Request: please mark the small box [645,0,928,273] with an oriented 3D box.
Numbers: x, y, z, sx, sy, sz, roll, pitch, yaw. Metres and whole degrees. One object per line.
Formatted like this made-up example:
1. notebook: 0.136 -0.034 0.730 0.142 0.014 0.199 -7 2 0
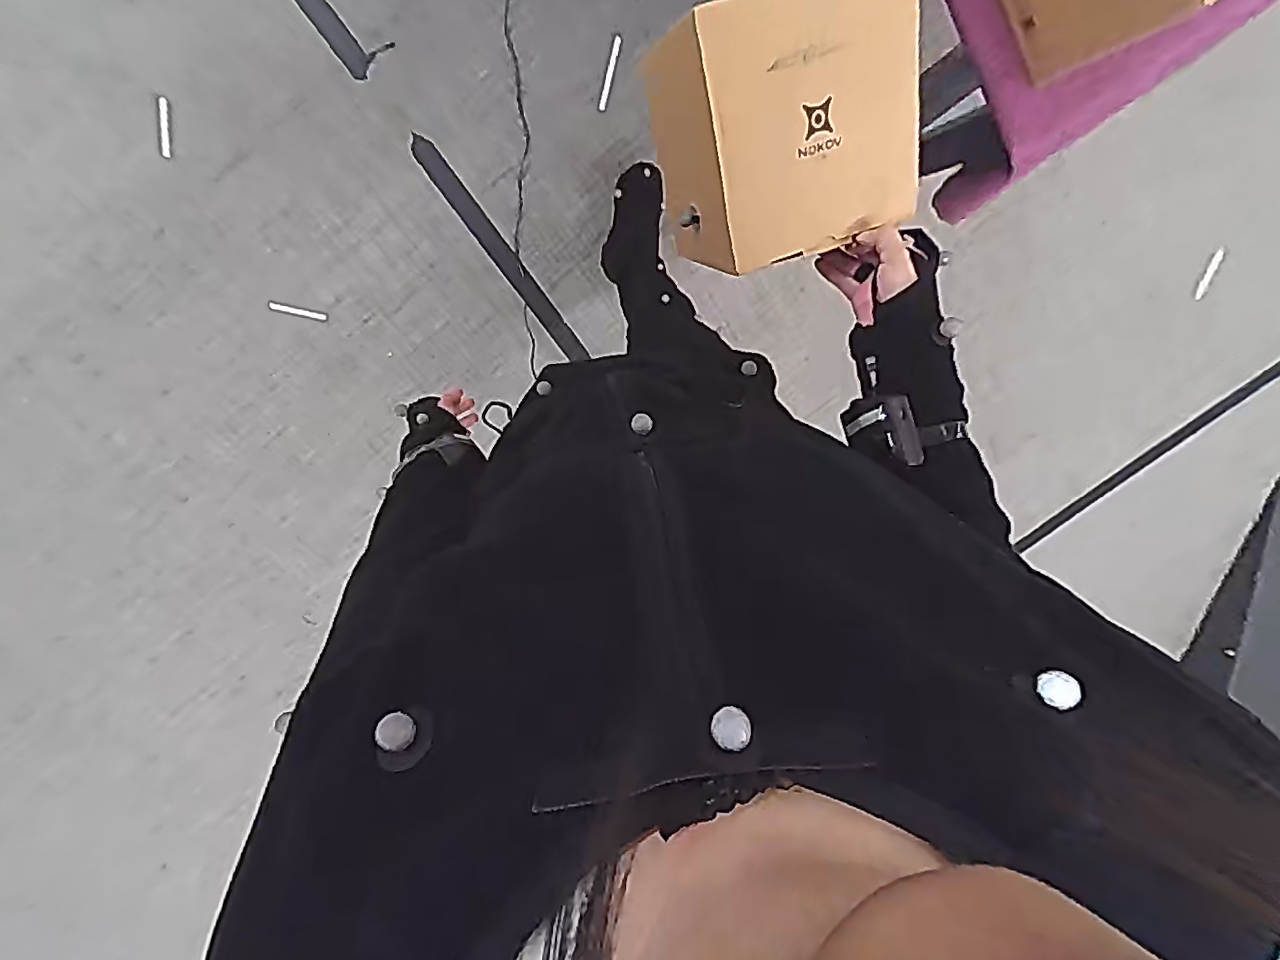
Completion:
1. small box: 0.118 -0.300 0.466 0.168 0.176 0.179 -21 119 -4
